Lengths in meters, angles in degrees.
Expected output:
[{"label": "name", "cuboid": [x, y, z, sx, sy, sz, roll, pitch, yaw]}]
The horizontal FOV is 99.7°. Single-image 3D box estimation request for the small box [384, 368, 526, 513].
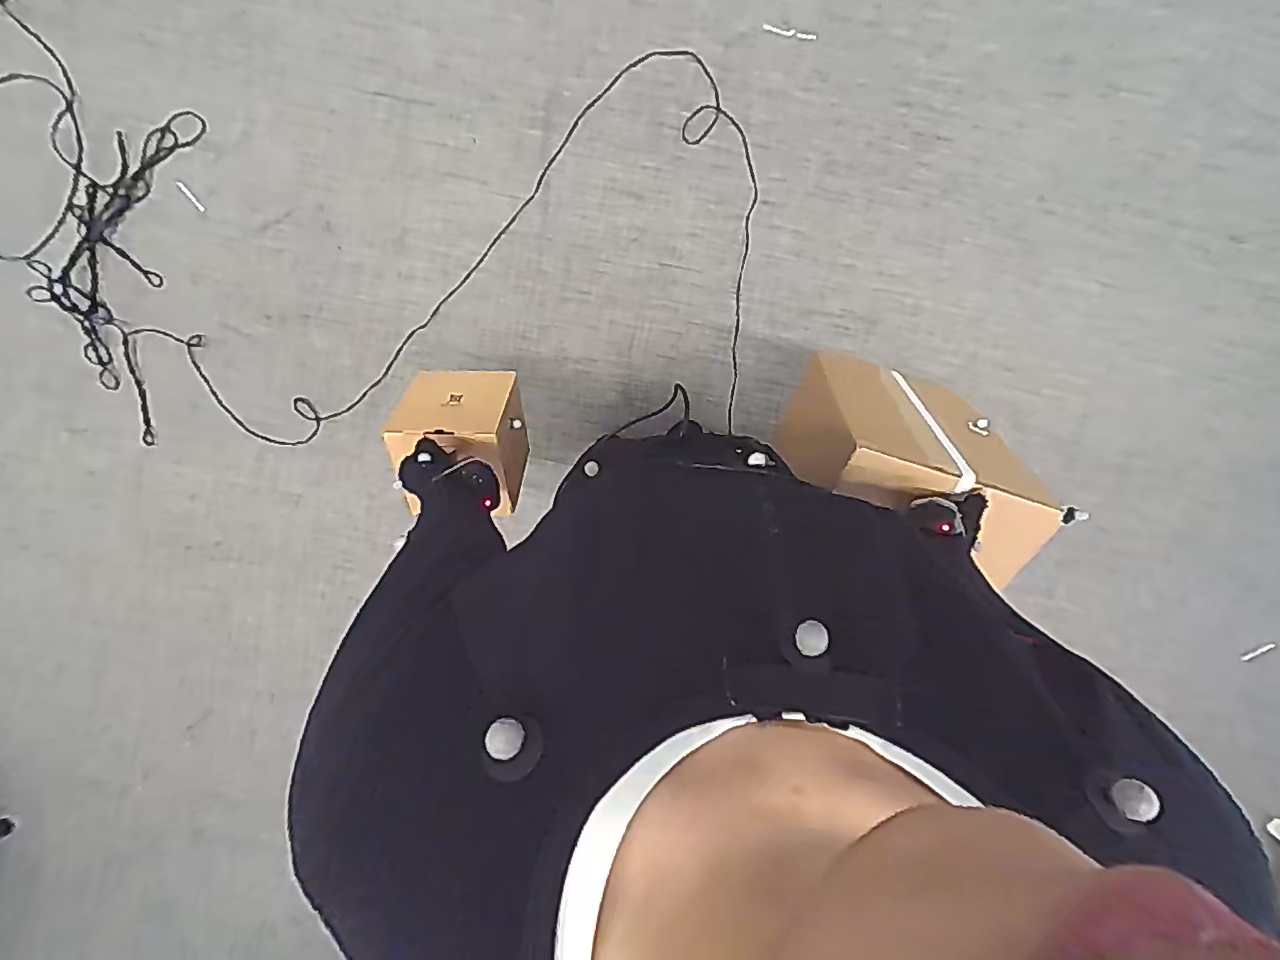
[{"label": "small box", "cuboid": [-0.288, -0.066, 0.890, 0.168, 0.179, 0.176, 0, 132, 0]}]
